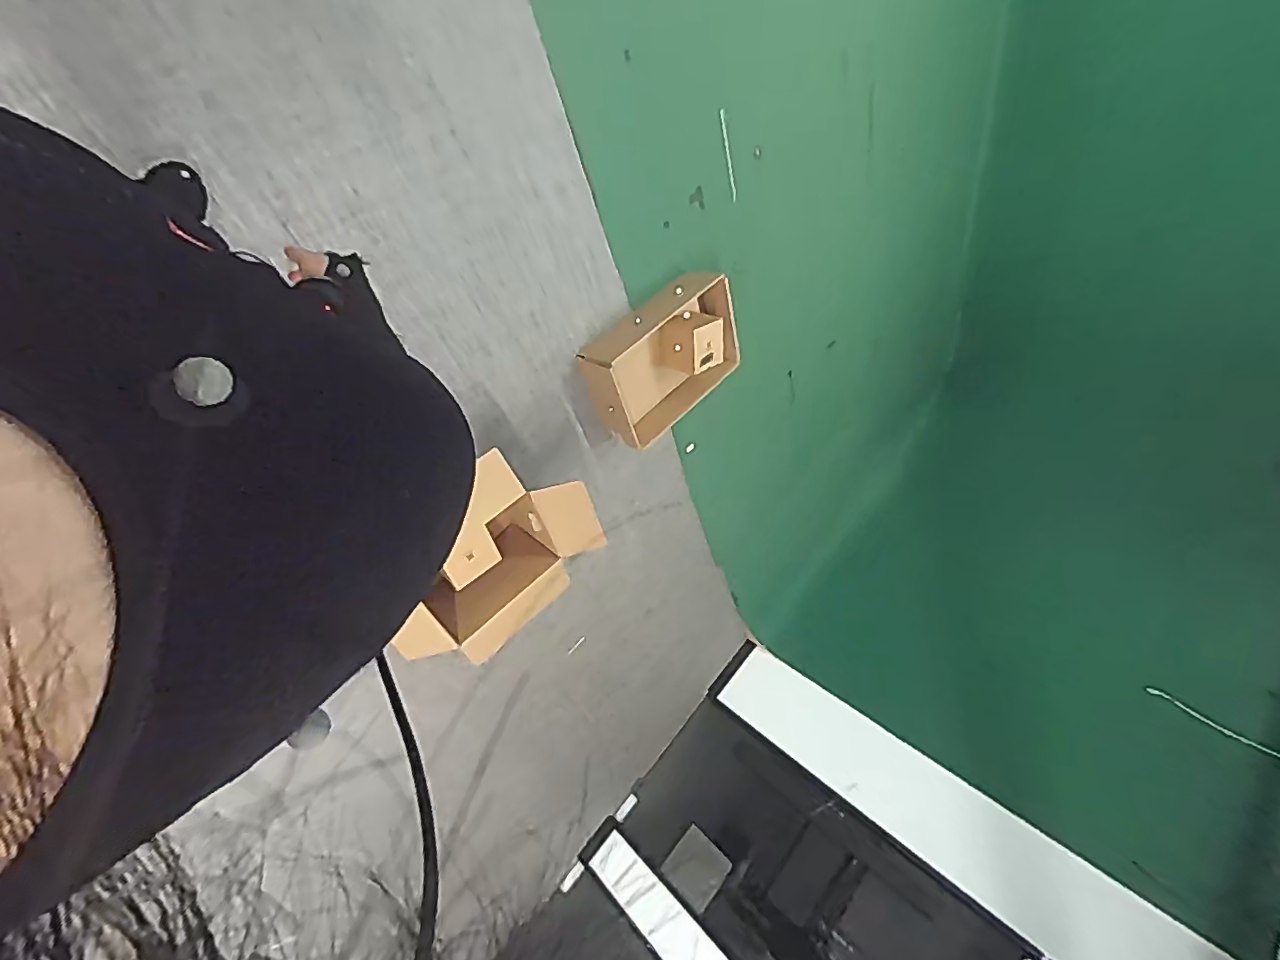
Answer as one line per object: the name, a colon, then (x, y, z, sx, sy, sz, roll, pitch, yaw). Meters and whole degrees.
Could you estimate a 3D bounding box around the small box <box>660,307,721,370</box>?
small box: (0.190, -0.542, 2.059, 0.168, 0.176, 0.179, -31, 132, -32)
